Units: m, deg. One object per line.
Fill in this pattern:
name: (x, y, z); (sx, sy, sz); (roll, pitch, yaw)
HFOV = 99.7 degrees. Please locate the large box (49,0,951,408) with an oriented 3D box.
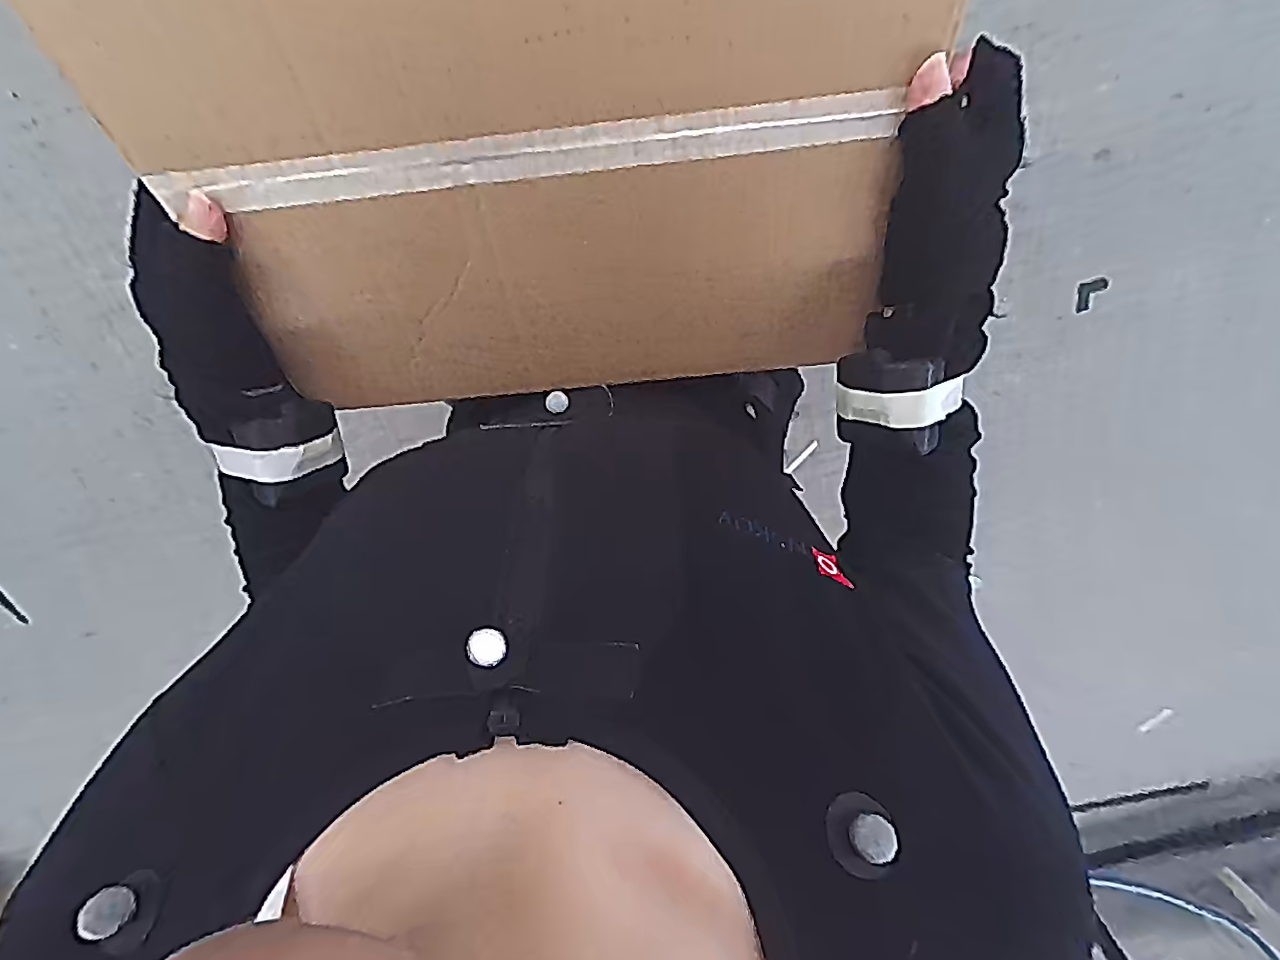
large box: (-0.055, -0.286, 0.387); (0.408, 0.320, 0.320); (-5, 139, 2)
